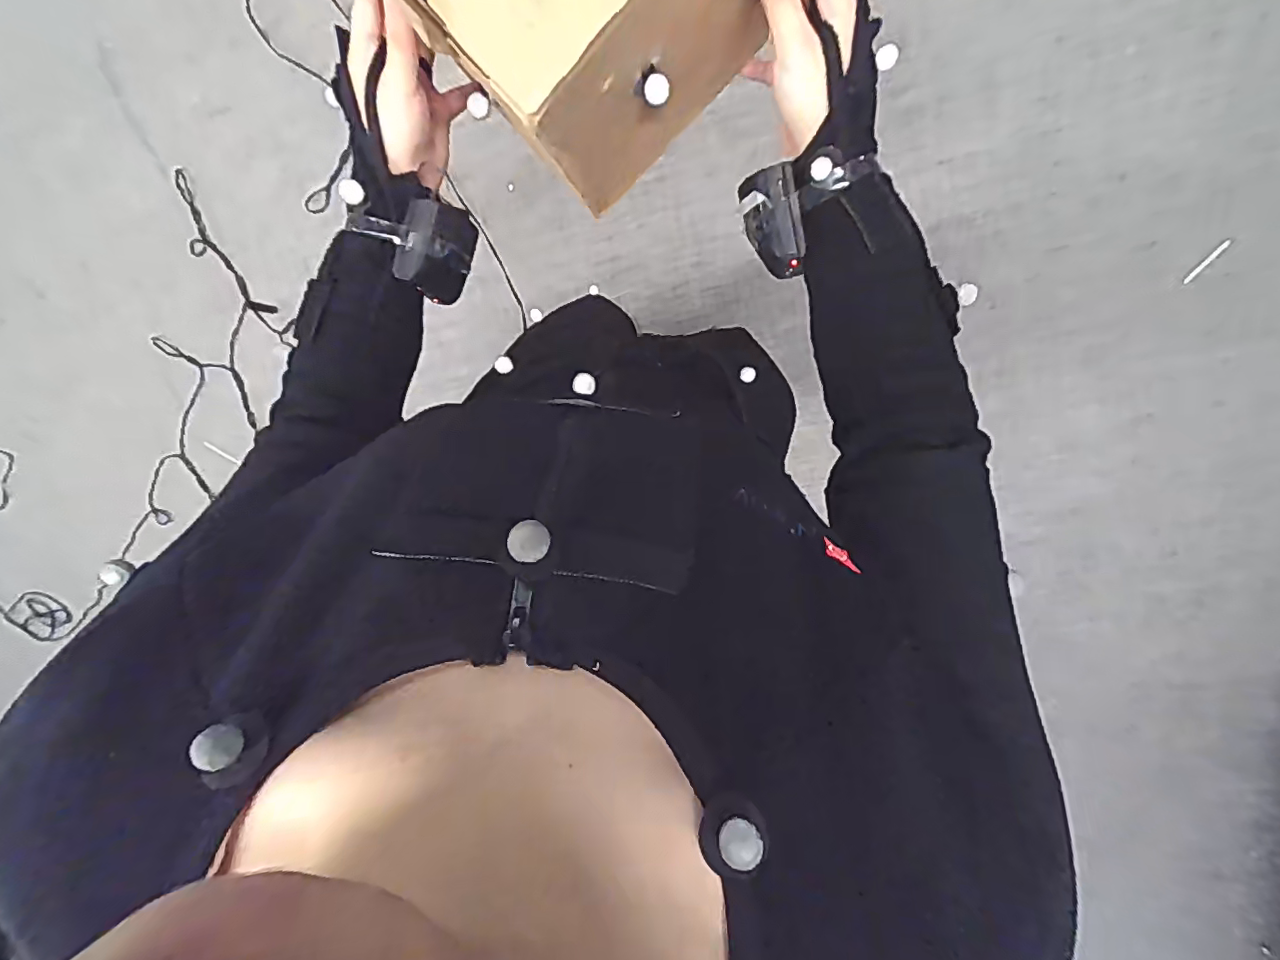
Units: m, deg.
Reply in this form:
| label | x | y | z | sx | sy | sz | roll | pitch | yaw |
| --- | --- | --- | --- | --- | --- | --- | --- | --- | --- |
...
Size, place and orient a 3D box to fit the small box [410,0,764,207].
| label | x | y | z | sx | sy | sz | roll | pitch | yaw |
| --- | --- | --- | --- | --- | --- | --- | --- | --- | --- |
| small box | -0.033 | -0.309 | 0.334 | 0.179 | 0.176 | 0.168 | -42 | 92 | 14 |
